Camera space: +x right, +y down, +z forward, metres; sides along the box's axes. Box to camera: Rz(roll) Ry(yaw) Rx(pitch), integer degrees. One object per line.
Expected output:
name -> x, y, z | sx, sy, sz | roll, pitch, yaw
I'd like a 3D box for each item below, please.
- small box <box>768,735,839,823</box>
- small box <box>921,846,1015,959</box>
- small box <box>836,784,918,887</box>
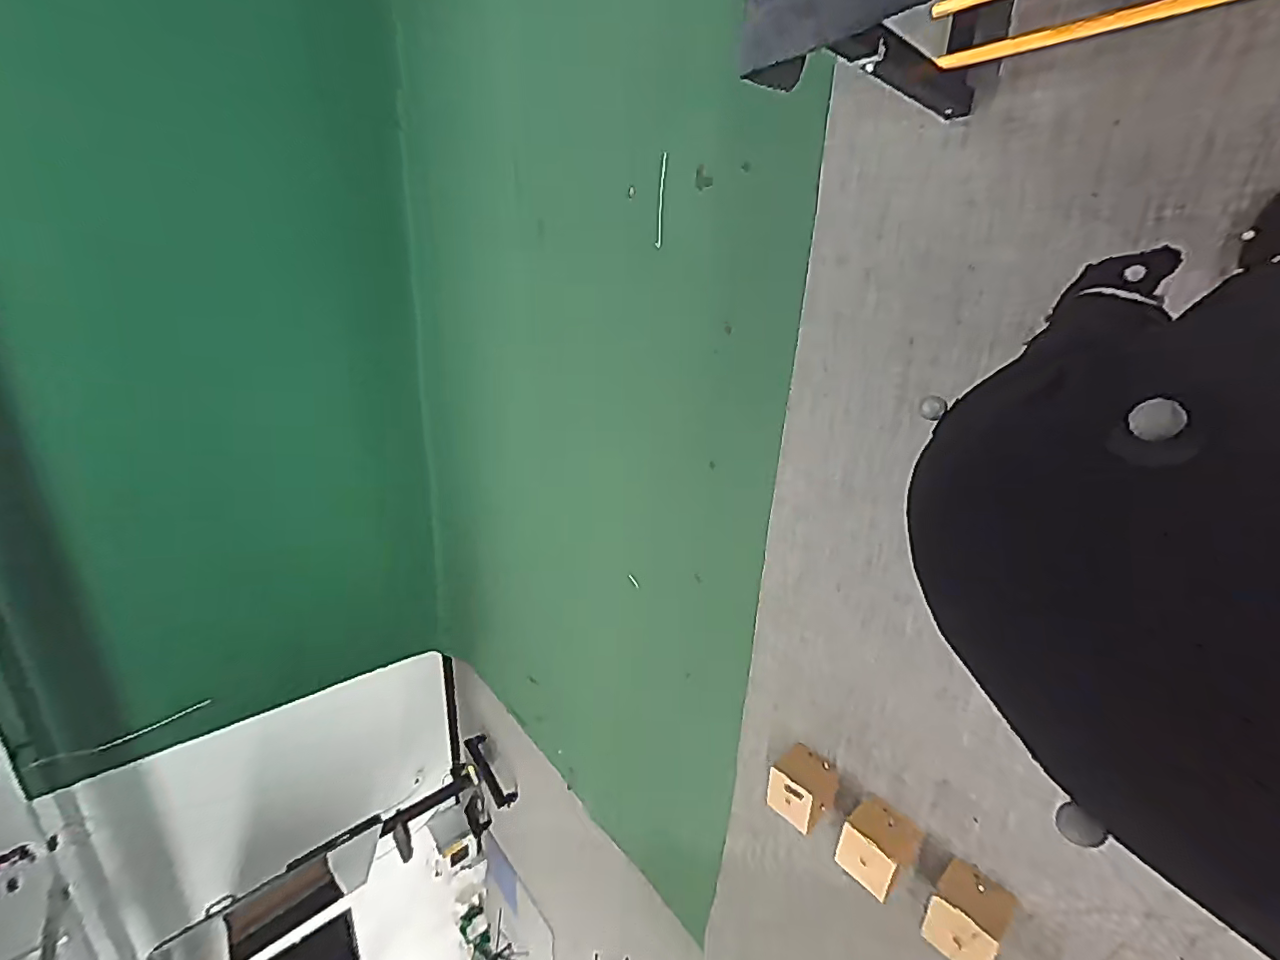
small box -> 0.578, 1.041, 1.902 | 0.168, 0.176, 0.179 | 22, 117, 46
small box -> 0.925, 1.196, 1.522 | 0.168, 0.176, 0.179 | 23, 117, 44
small box -> 0.753, 1.119, 1.713 | 0.168, 0.176, 0.179 | 26, 119, 44
